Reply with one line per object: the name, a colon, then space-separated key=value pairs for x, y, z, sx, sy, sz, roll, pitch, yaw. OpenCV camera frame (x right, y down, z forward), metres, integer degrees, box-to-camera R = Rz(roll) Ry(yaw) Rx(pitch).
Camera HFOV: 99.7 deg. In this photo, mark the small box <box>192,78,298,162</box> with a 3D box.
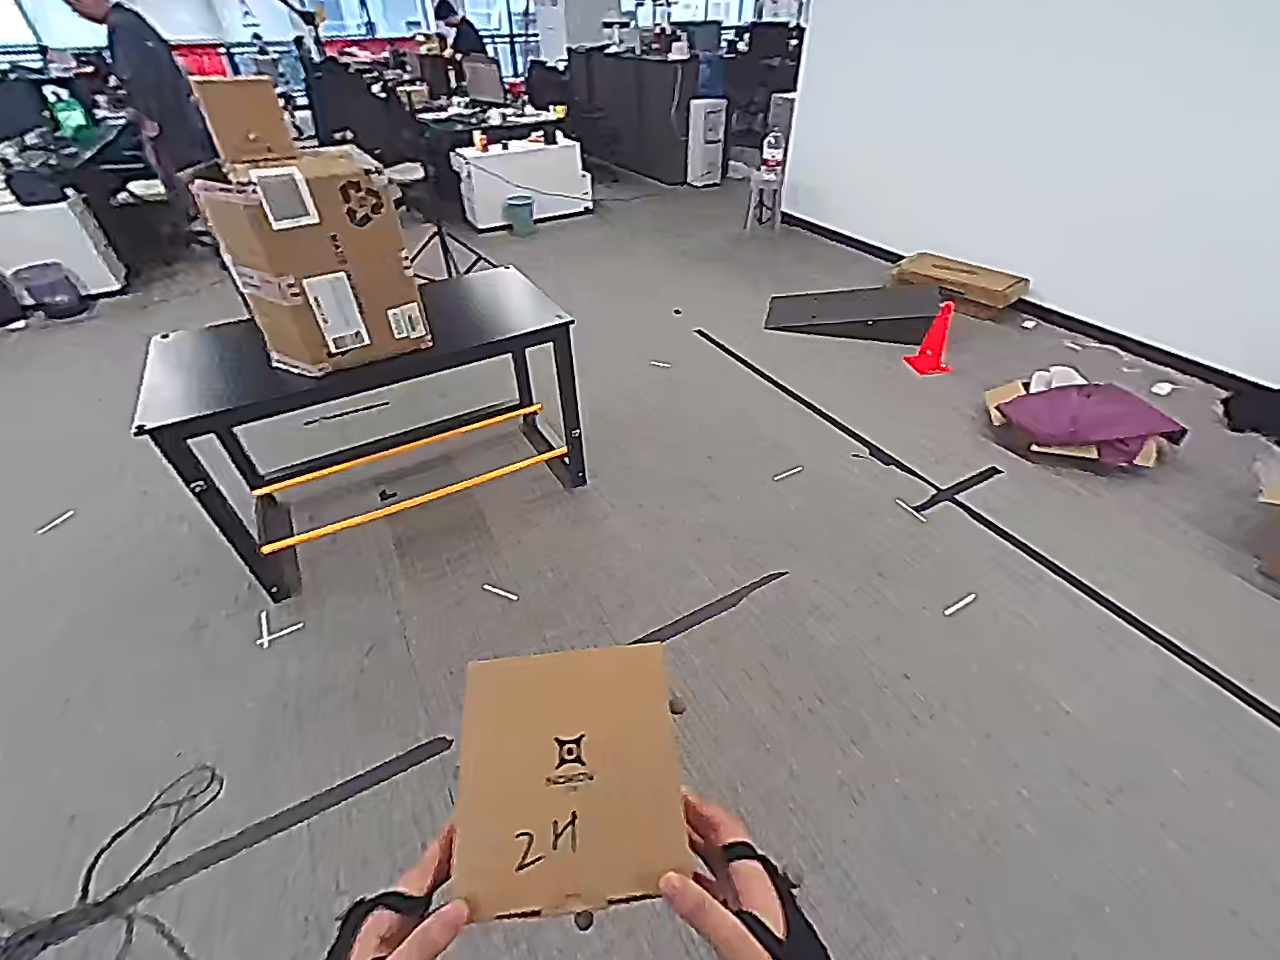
small box: x=-1.008 y=-0.921 z=1.382 sx=0.168 sy=0.176 sz=0.179 roll=-24 pitch=44 yaw=-27
